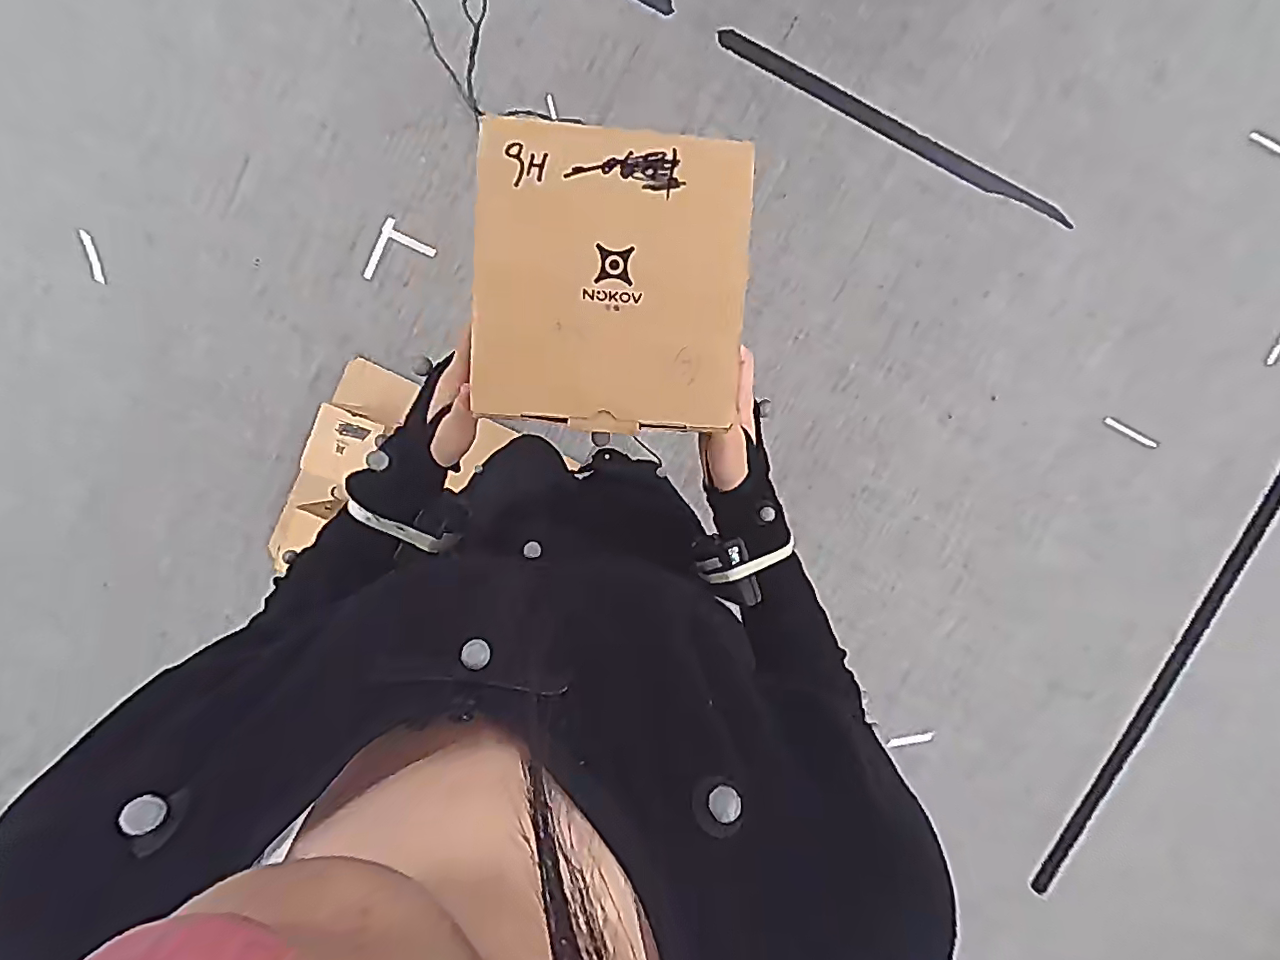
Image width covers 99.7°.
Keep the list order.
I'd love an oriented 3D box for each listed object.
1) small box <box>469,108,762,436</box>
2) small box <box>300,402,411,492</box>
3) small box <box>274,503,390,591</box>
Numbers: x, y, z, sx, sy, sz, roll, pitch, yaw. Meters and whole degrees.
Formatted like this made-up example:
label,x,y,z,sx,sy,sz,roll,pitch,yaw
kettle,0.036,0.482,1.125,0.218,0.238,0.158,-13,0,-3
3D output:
label,x,y,z,sx,sy,sz,roll,pitch,yaw
small box,-0.020,-0.127,0.398,0.168,0.176,0.179,3,95,-5
small box,-0.717,-0.084,1.387,0.168,0.176,0.179,23,93,0
small box,-0.791,0.165,1.404,0.179,0.176,0.168,21,94,-1
